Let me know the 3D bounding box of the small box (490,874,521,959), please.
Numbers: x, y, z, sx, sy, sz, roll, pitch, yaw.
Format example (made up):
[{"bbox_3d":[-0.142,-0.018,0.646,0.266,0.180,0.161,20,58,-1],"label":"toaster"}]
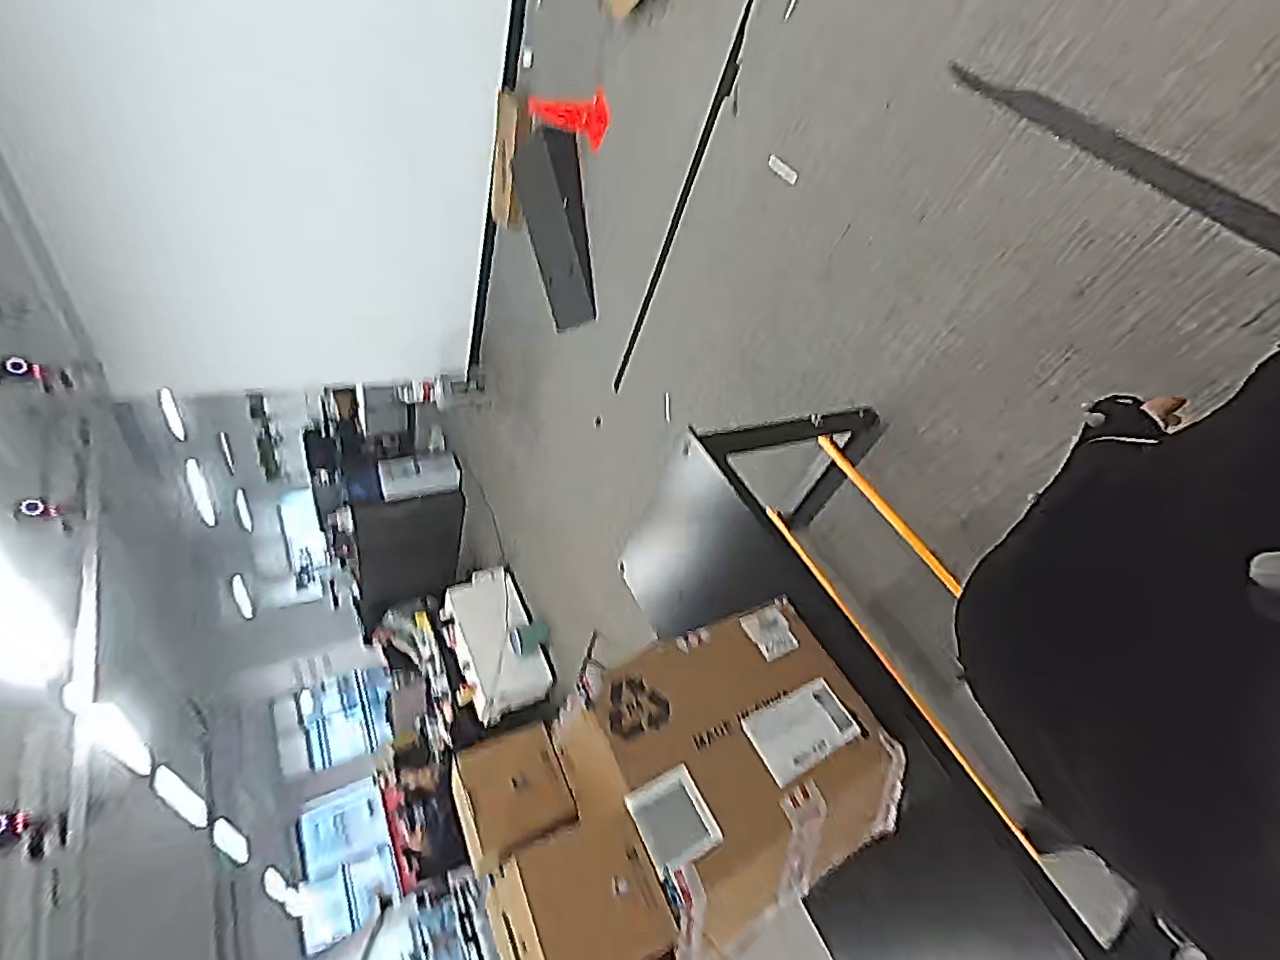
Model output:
[{"bbox_3d":[-0.140,0.732,0.901,0.168,0.176,0.179,54,142,35],"label":"small box"}]

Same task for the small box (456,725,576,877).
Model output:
[{"bbox_3d":[-0.232,0.590,1.006,0.168,0.176,0.179,57,143,35],"label":"small box"}]

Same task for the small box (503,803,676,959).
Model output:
[{"bbox_3d":[-0.074,0.583,0.740,0.168,0.176,0.179,56,140,35],"label":"small box"}]
